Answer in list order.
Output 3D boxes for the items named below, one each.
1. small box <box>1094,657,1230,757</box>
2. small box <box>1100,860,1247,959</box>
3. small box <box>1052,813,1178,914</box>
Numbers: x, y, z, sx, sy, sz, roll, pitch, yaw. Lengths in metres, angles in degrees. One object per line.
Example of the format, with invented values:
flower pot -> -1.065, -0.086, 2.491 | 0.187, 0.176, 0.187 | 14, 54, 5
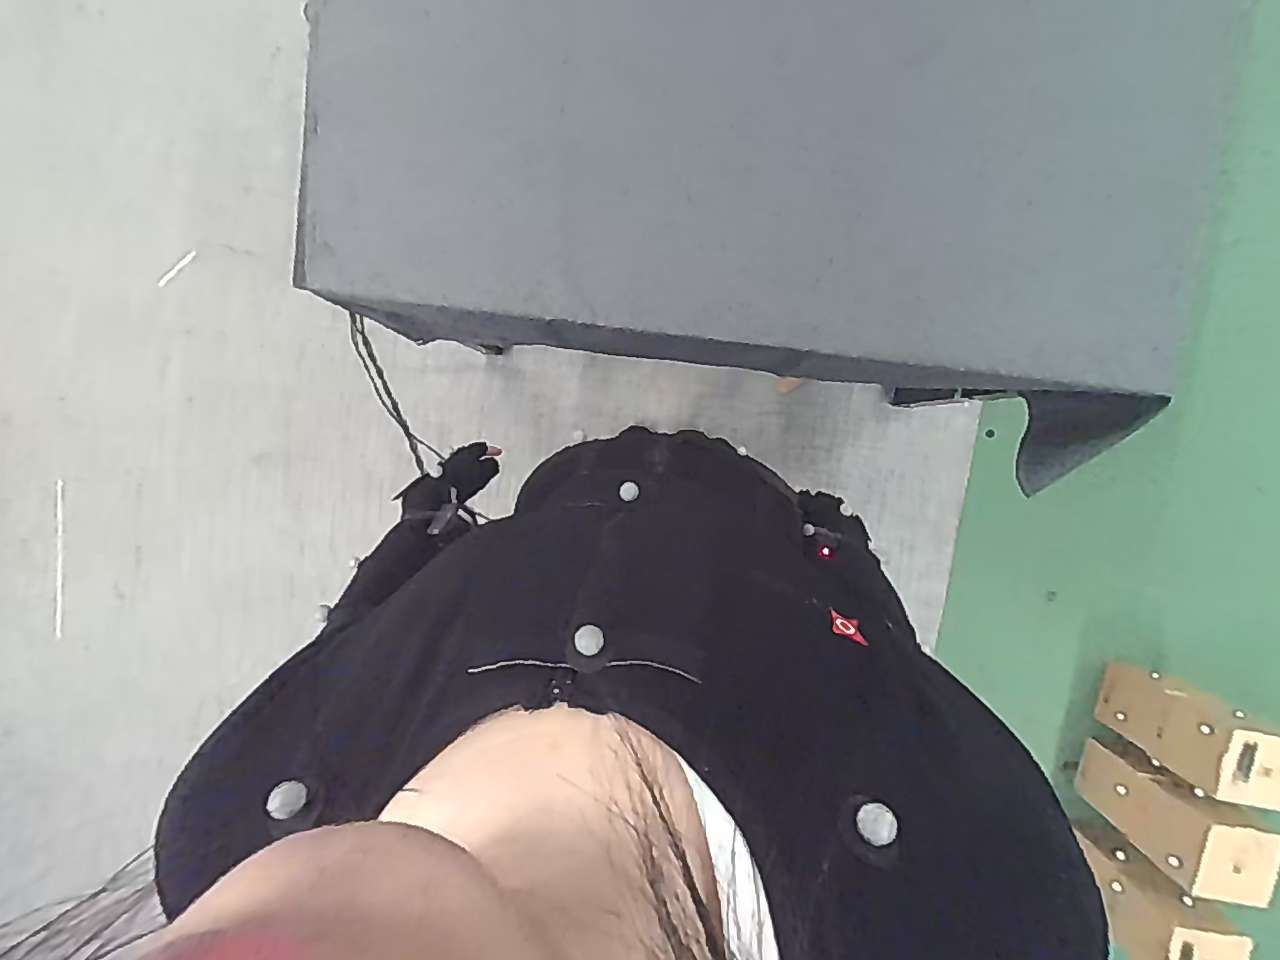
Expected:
small box -> 1.353, 0.585, 1.417 | 0.179, 0.176, 0.168 | 12, 96, 1
small box -> 1.269, 1.059, 1.301 | 0.179, 0.176, 0.168 | 7, 96, 1
small box -> 1.277, 1.042, 1.465 | 0.179, 0.176, 0.168 | 8, 96, 2
